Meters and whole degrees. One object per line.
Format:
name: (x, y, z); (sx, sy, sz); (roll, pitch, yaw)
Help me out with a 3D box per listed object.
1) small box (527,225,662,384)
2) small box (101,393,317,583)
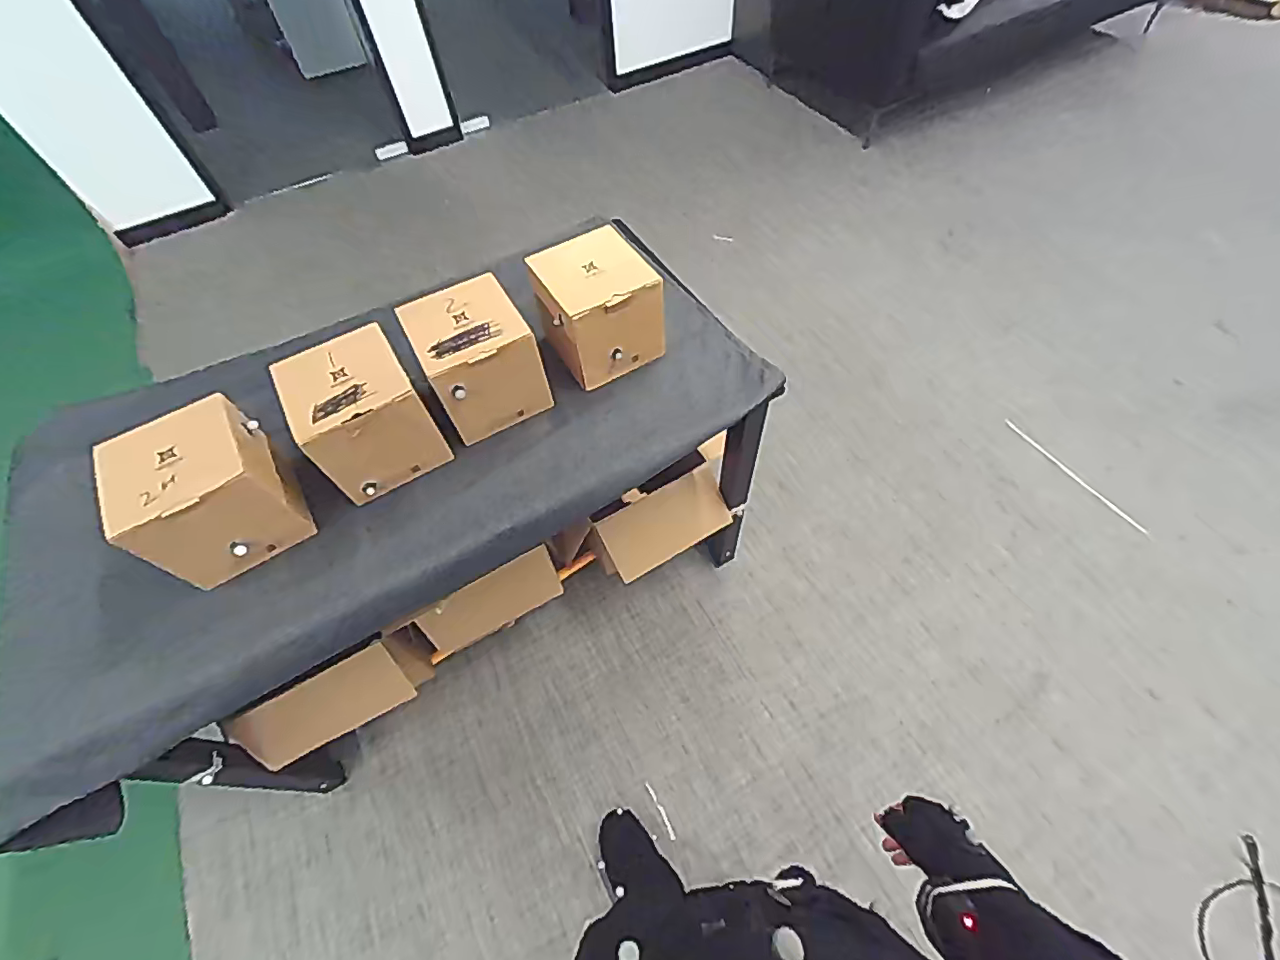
small box: (-0.074, -0.301, 0.941); (0.168, 0.176, 0.179); (-29, 61, -13)
small box: (-0.607, 0.016, 0.777); (0.168, 0.176, 0.179); (-32, 62, -15)
